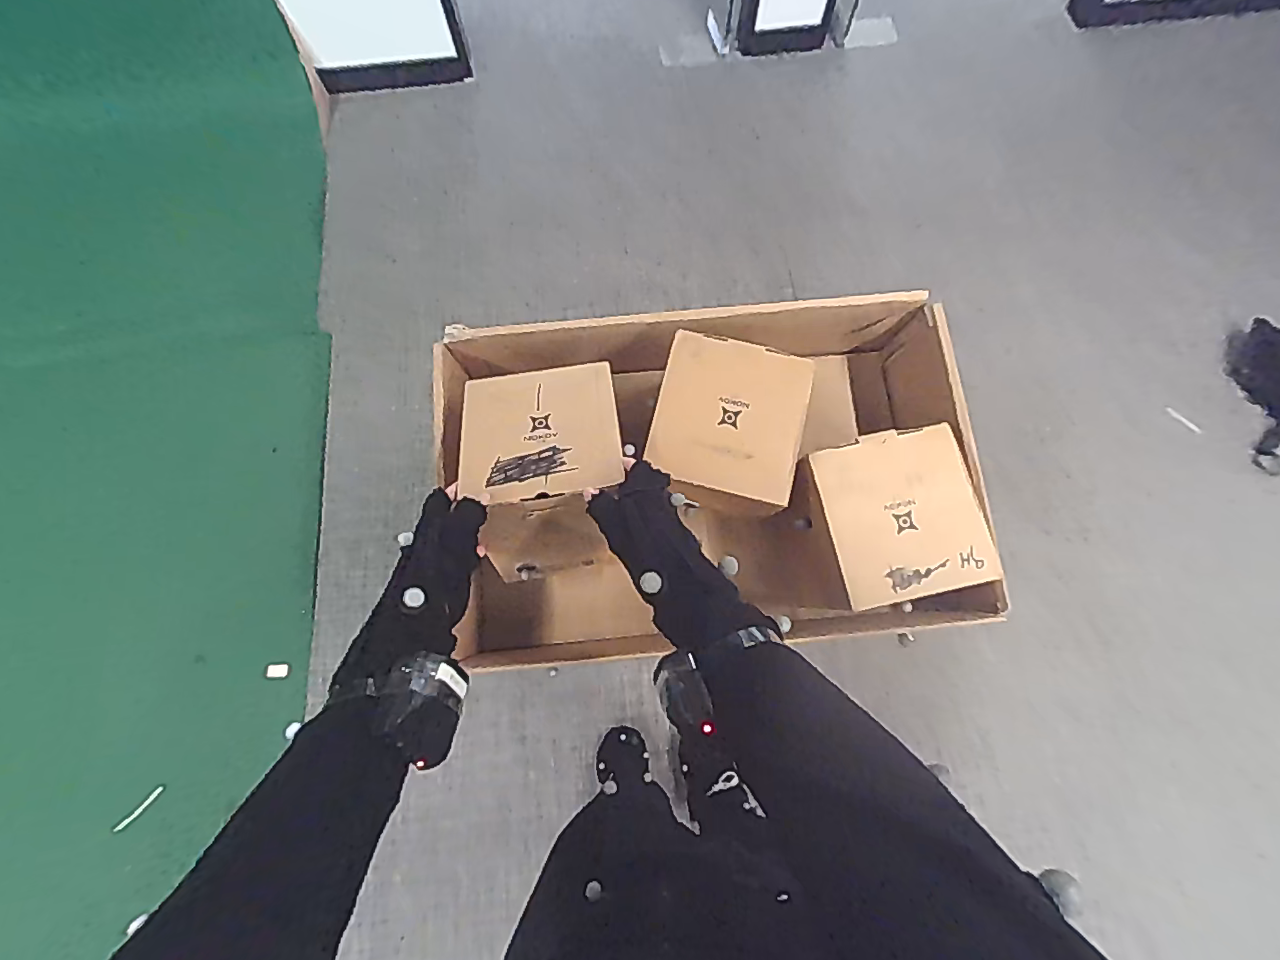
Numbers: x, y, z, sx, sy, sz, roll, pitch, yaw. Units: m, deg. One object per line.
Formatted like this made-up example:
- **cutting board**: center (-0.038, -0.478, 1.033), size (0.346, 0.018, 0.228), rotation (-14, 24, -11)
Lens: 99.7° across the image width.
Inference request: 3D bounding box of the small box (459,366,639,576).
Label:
- **small box**: center (-0.096, -0.002, 0.629), size (0.168, 0.176, 0.179), rotation (-9, 53, -1)
